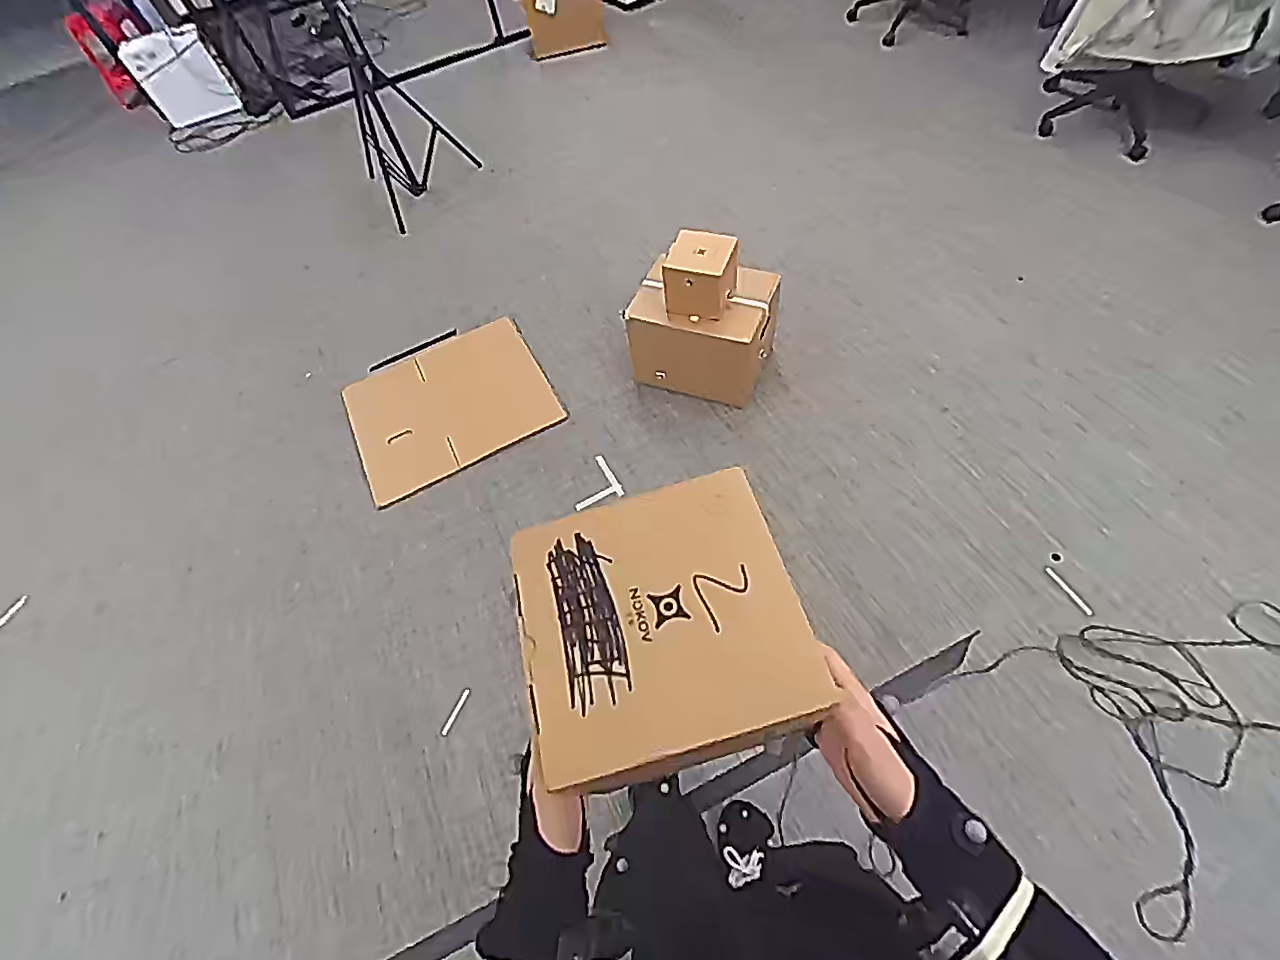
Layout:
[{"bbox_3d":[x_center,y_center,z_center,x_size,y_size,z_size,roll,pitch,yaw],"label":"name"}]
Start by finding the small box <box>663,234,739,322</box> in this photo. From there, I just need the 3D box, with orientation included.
[{"bbox_3d":[0.181,-0.589,1.586,0.179,0.176,0.168,16,64,16],"label":"small box"}]
